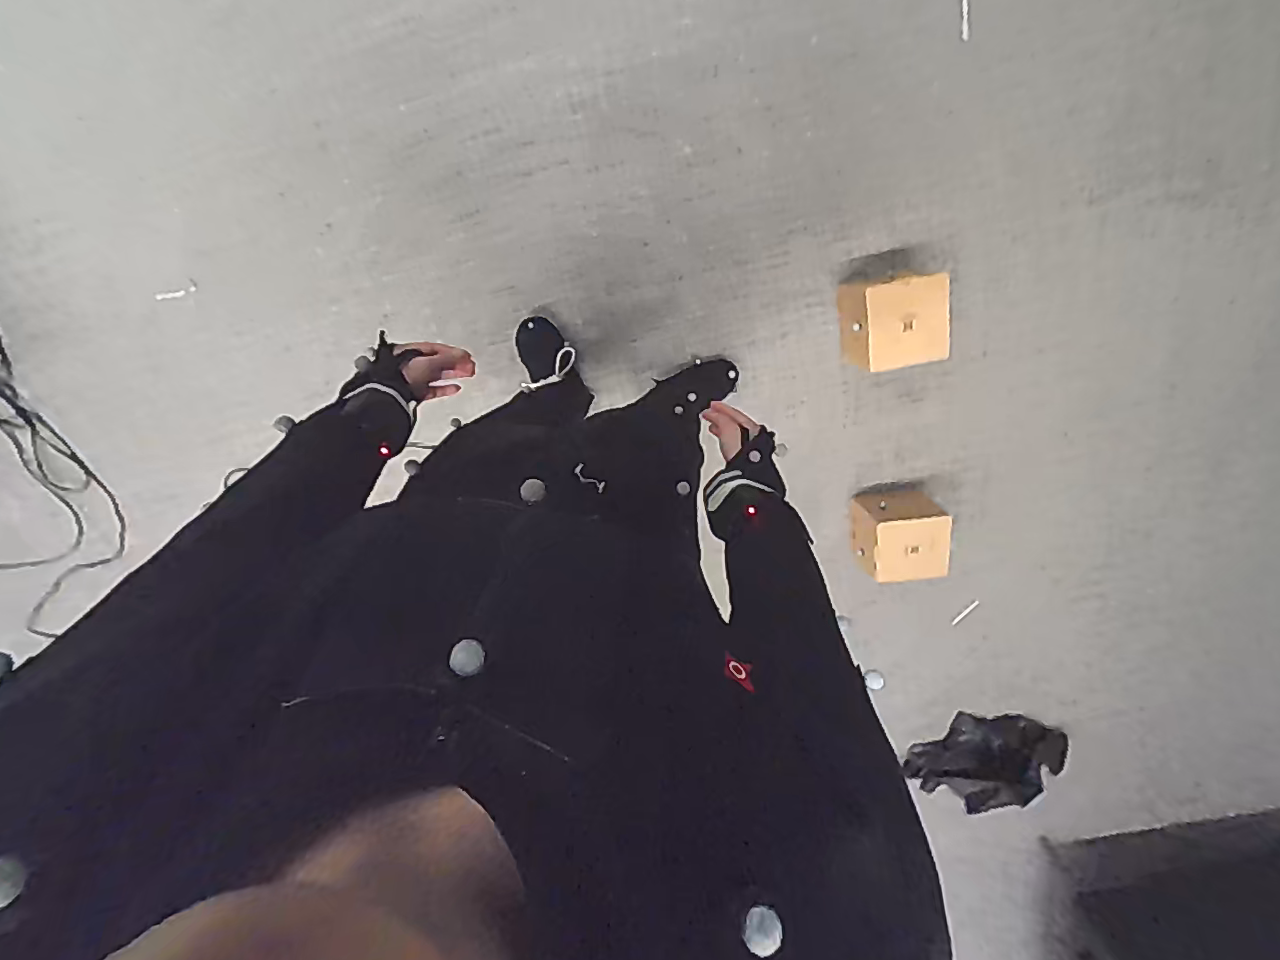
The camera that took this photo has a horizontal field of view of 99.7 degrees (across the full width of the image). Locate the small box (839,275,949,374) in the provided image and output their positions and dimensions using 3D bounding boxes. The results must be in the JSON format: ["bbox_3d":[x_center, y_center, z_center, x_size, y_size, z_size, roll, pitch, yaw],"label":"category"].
[{"bbox_3d":[0.544,-0.342,1.173,0.168,0.176,0.179,-10,110,4],"label":"small box"}]

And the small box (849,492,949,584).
[{"bbox_3d":[0.637,0.141,1.353,0.179,0.176,0.168,-7,112,1],"label":"small box"}]
